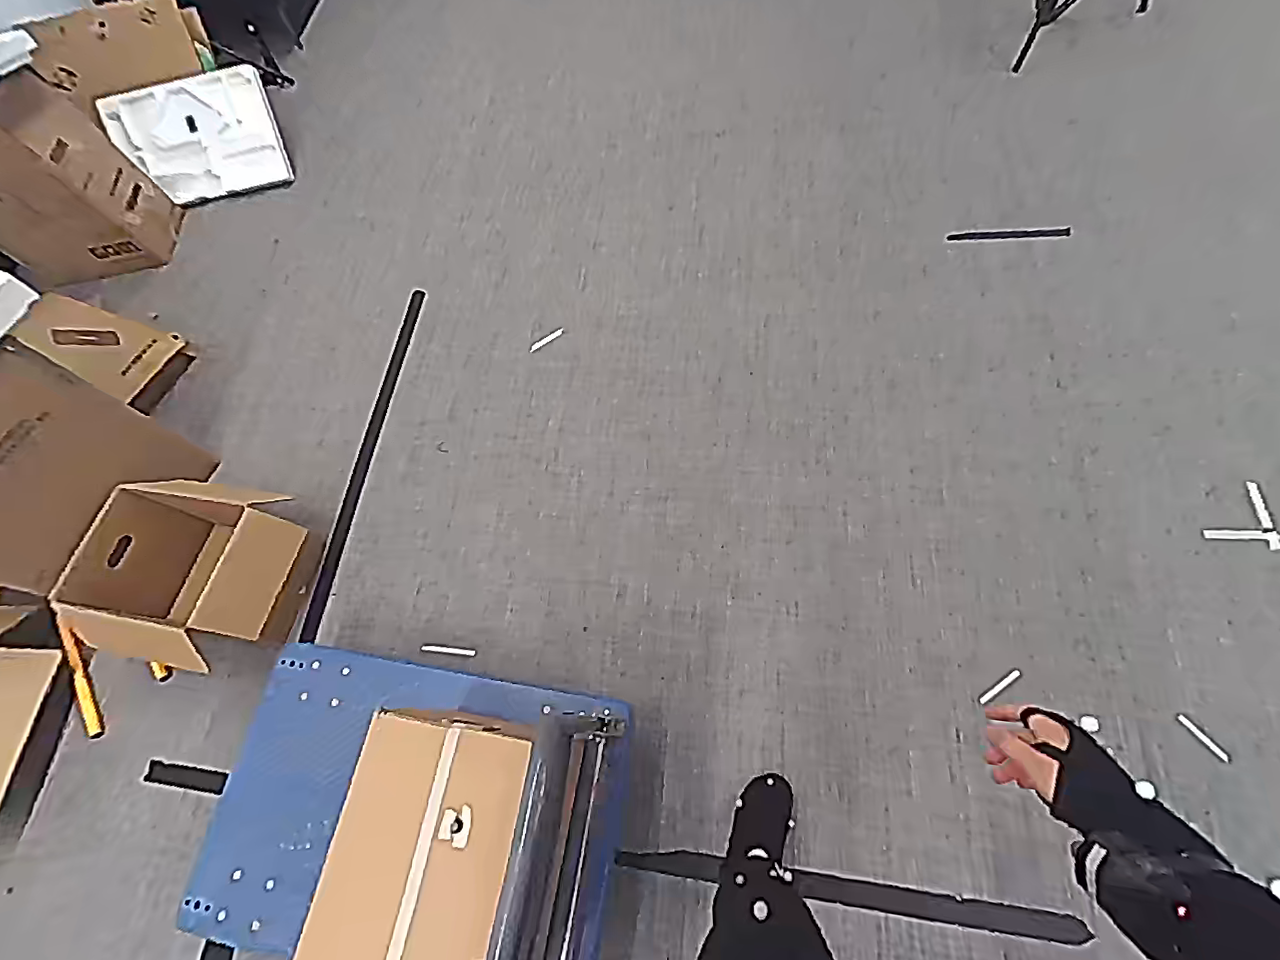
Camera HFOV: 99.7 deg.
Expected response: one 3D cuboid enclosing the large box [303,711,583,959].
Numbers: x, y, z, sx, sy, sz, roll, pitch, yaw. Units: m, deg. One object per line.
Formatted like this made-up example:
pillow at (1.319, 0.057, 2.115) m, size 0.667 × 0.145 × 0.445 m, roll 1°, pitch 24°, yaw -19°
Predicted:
large box at (-0.315, 0.661, 0.977) m, size 0.320 × 0.320 × 0.408 m, roll 6°, pitch 66°, yaw 10°
